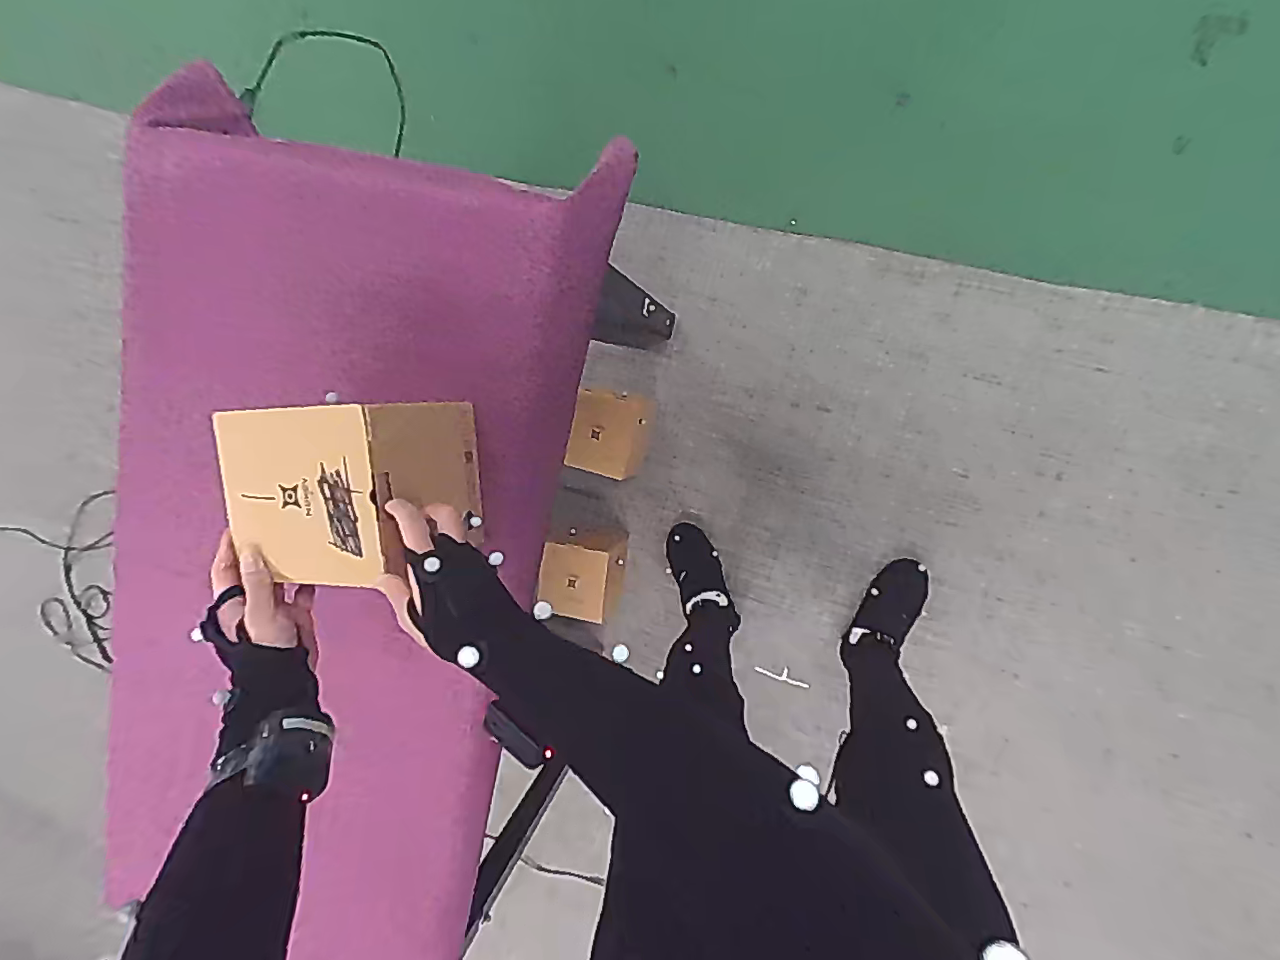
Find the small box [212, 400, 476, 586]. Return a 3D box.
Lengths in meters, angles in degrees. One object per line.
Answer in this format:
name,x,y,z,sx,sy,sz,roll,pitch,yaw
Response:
small box,-0.285,0.002,0.560,0.179,0.176,0.168,0,97,16

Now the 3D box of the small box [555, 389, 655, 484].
small box,-0.074,-0.104,1.250,0.168,0.176,0.179,16,100,12

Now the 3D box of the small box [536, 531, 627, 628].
small box,-0.136,0.231,1.307,0.168,0.176,0.179,9,100,14
